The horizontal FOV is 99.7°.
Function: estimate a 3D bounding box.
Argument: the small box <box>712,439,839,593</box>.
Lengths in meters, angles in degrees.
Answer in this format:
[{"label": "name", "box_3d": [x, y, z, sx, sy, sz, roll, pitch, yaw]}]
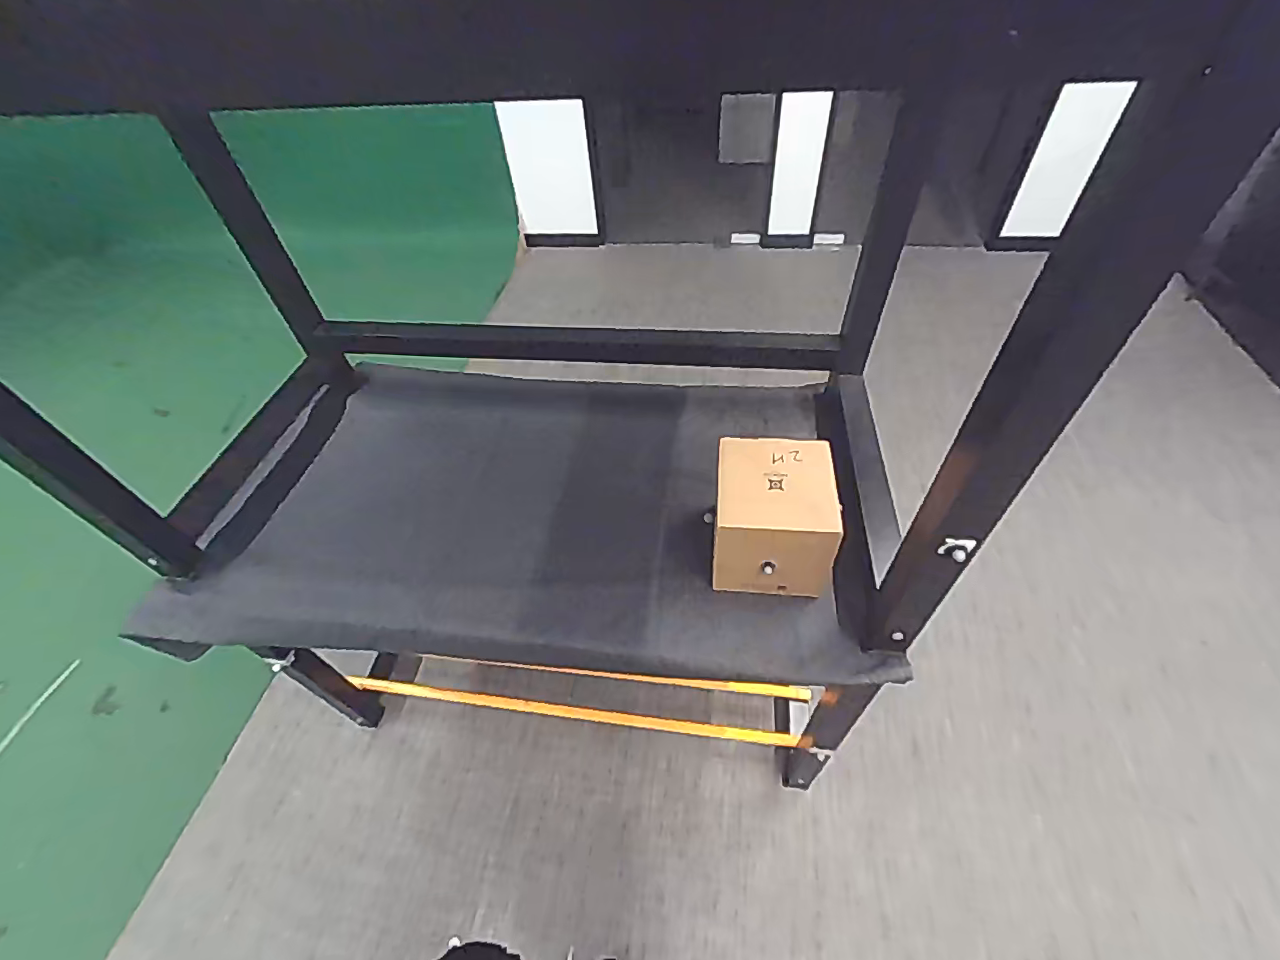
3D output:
[{"label": "small box", "box_3d": [0.198, 0.057, 0.832, 0.168, 0.176, 0.179, 3, 48, 7]}]
